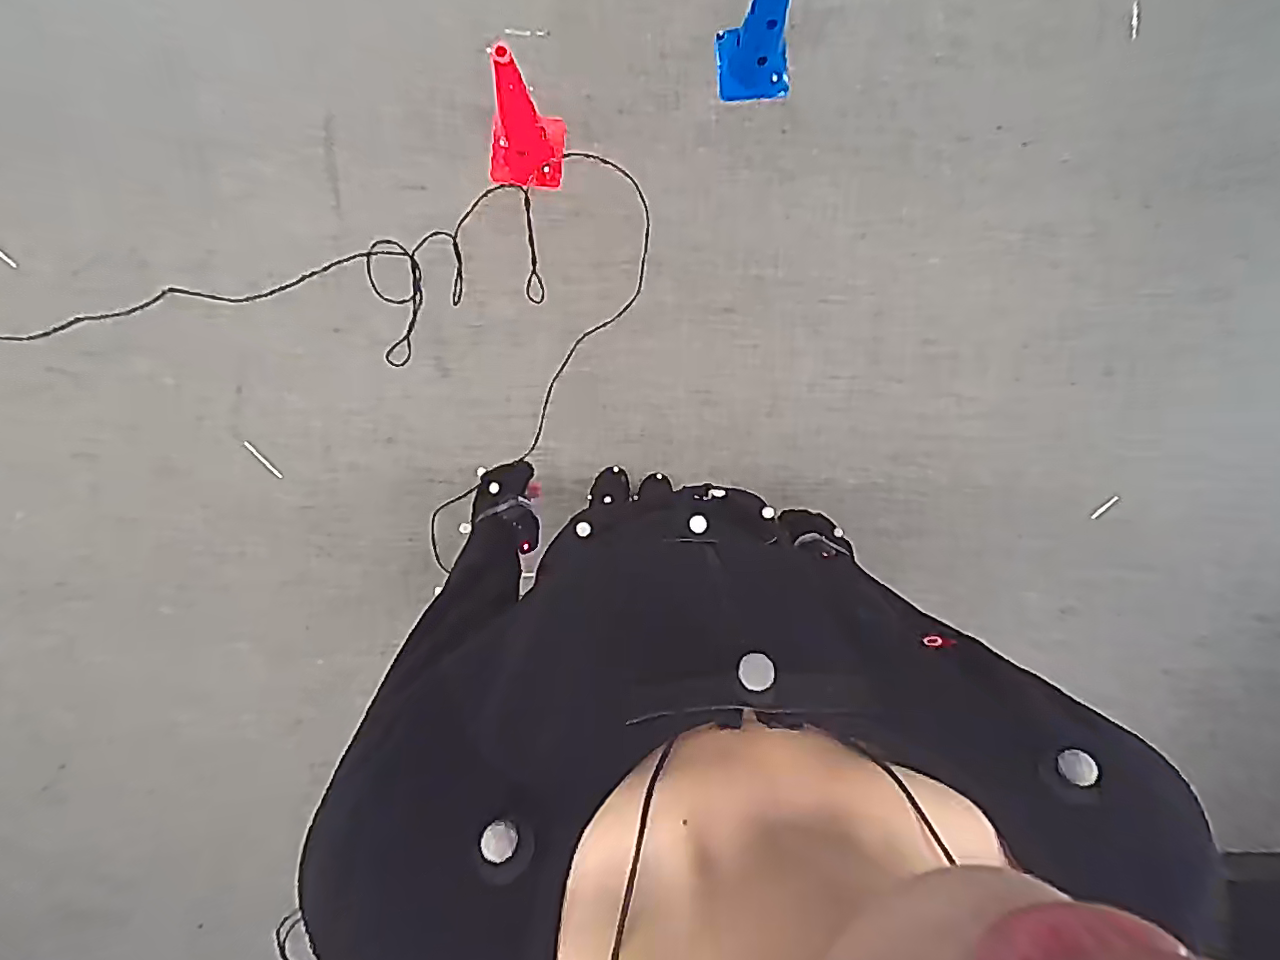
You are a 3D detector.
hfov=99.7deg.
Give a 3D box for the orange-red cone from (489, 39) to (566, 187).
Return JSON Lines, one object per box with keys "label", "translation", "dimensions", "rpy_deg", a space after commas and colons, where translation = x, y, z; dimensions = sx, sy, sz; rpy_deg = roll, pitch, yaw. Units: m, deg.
{"label": "orange-red cone", "translation": [-0.302, -0.921, 1.326], "dimensions": [0.198, 0.360, 0.199], "rpy_deg": [6, 89, -3]}
